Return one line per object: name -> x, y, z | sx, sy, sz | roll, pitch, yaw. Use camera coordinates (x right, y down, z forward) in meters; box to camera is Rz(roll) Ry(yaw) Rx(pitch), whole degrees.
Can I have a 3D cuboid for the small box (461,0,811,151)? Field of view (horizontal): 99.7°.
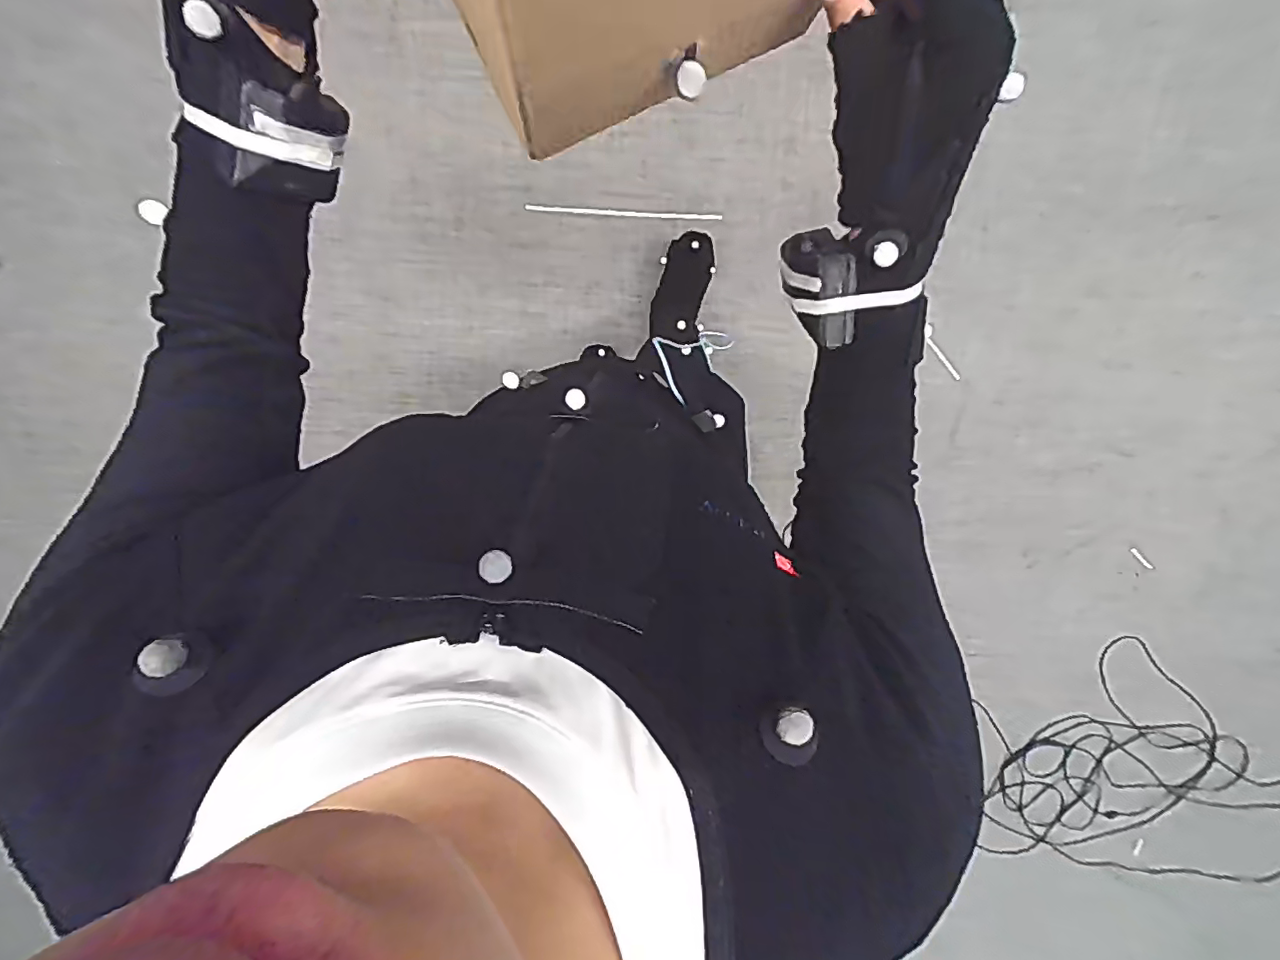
small box -> -0.006, -0.277, 0.219 | 0.179, 0.176, 0.168 | -27, 103, -1
